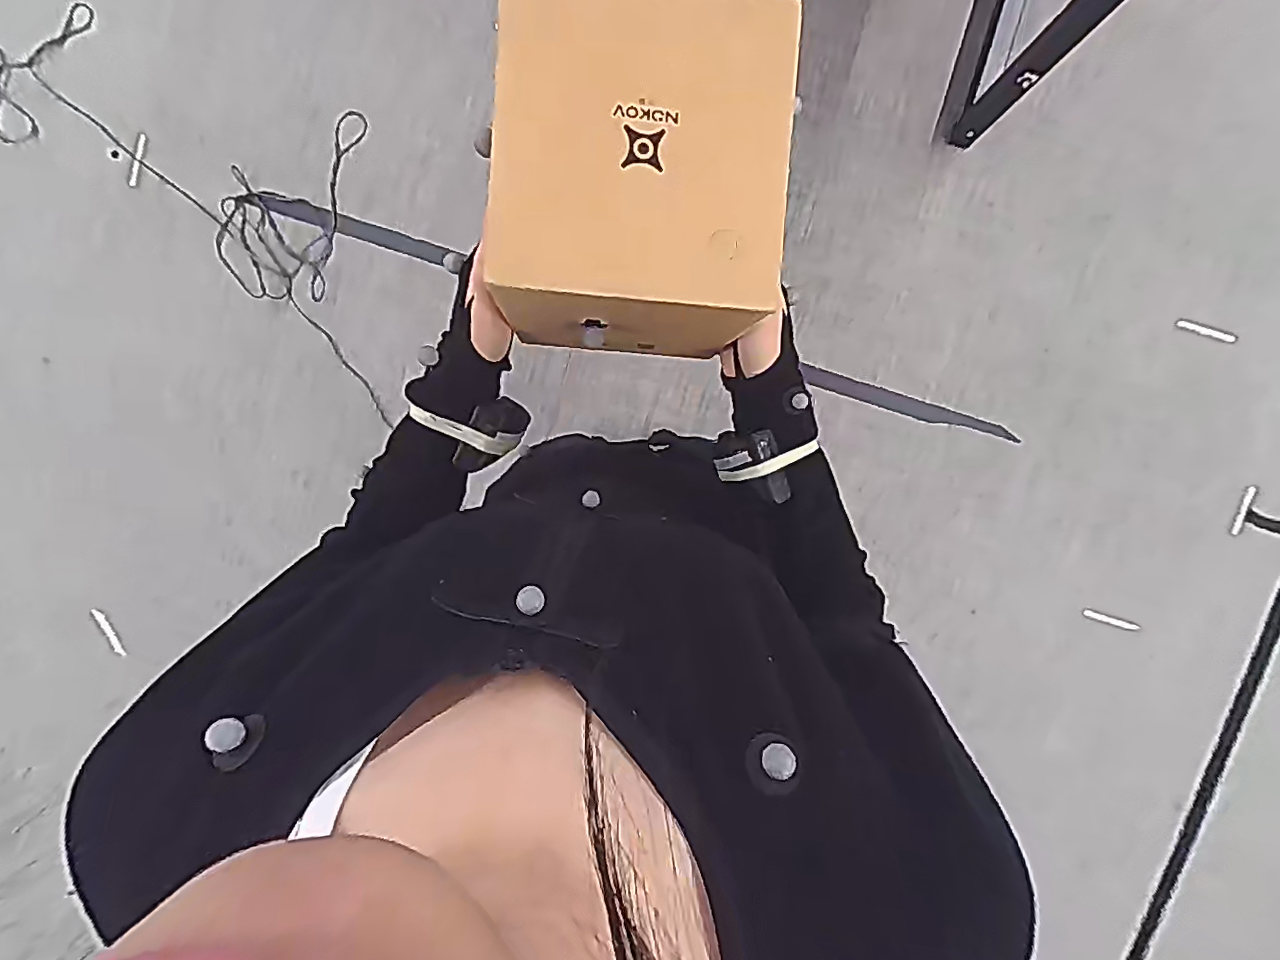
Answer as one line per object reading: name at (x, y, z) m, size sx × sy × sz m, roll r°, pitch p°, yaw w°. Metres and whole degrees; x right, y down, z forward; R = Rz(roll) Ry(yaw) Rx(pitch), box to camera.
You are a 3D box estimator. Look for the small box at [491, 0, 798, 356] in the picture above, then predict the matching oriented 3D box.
small box at (-0.003, -0.191, 0.383) m, size 0.168 × 0.176 × 0.179 m, roll 3°, pitch 92°, yaw -6°
